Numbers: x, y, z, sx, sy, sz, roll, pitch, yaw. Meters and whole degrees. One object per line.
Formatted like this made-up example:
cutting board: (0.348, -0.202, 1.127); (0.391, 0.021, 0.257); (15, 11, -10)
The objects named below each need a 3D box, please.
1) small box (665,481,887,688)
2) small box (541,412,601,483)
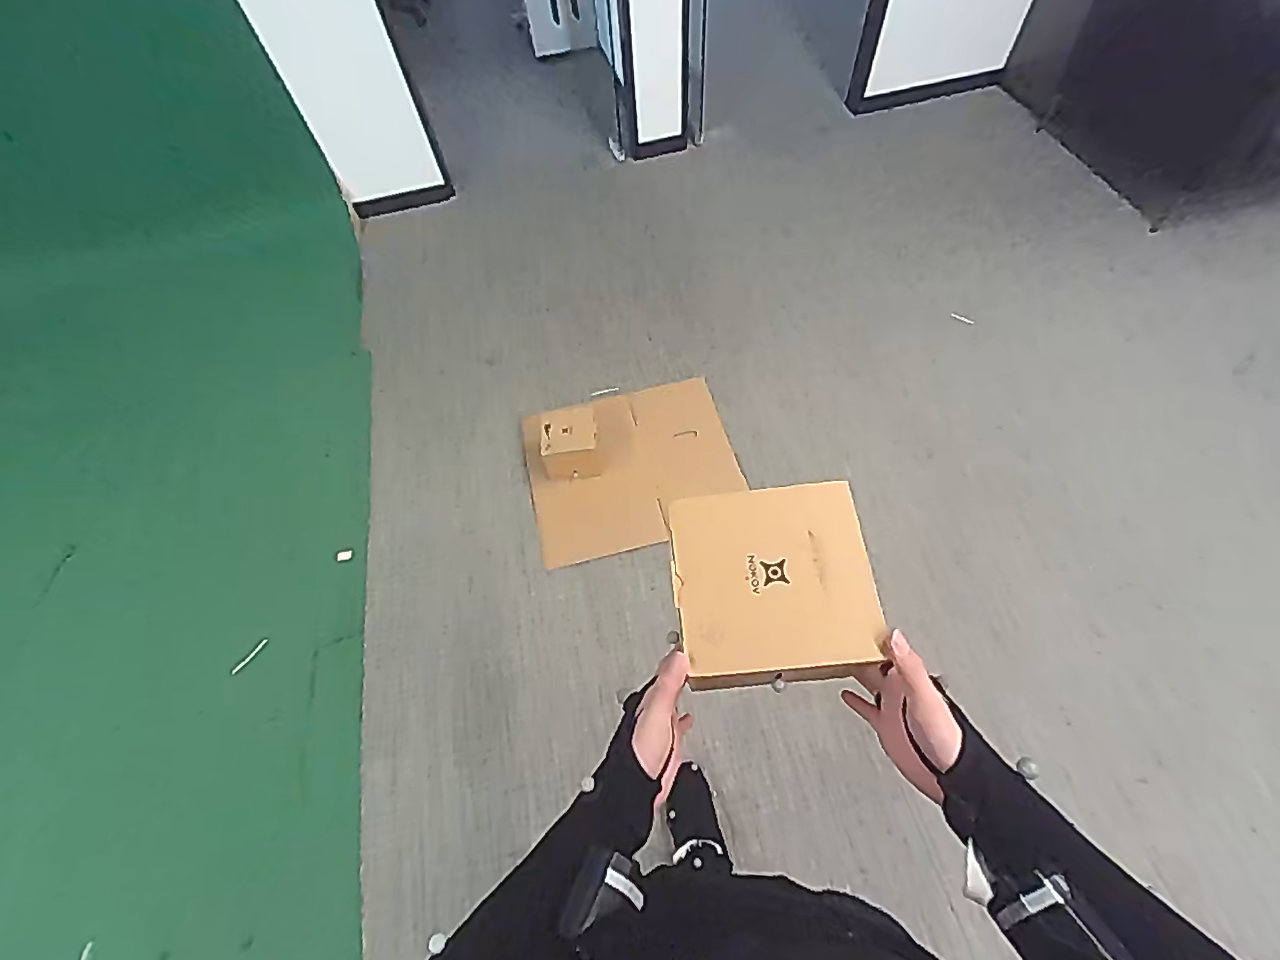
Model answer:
small box: (0.126, 0.117, 0.558); (0.179, 0.176, 0.168); (-6, 65, 5)
small box: (-0.224, -0.105, 1.794); (0.179, 0.176, 0.168); (-6, 59, 0)
